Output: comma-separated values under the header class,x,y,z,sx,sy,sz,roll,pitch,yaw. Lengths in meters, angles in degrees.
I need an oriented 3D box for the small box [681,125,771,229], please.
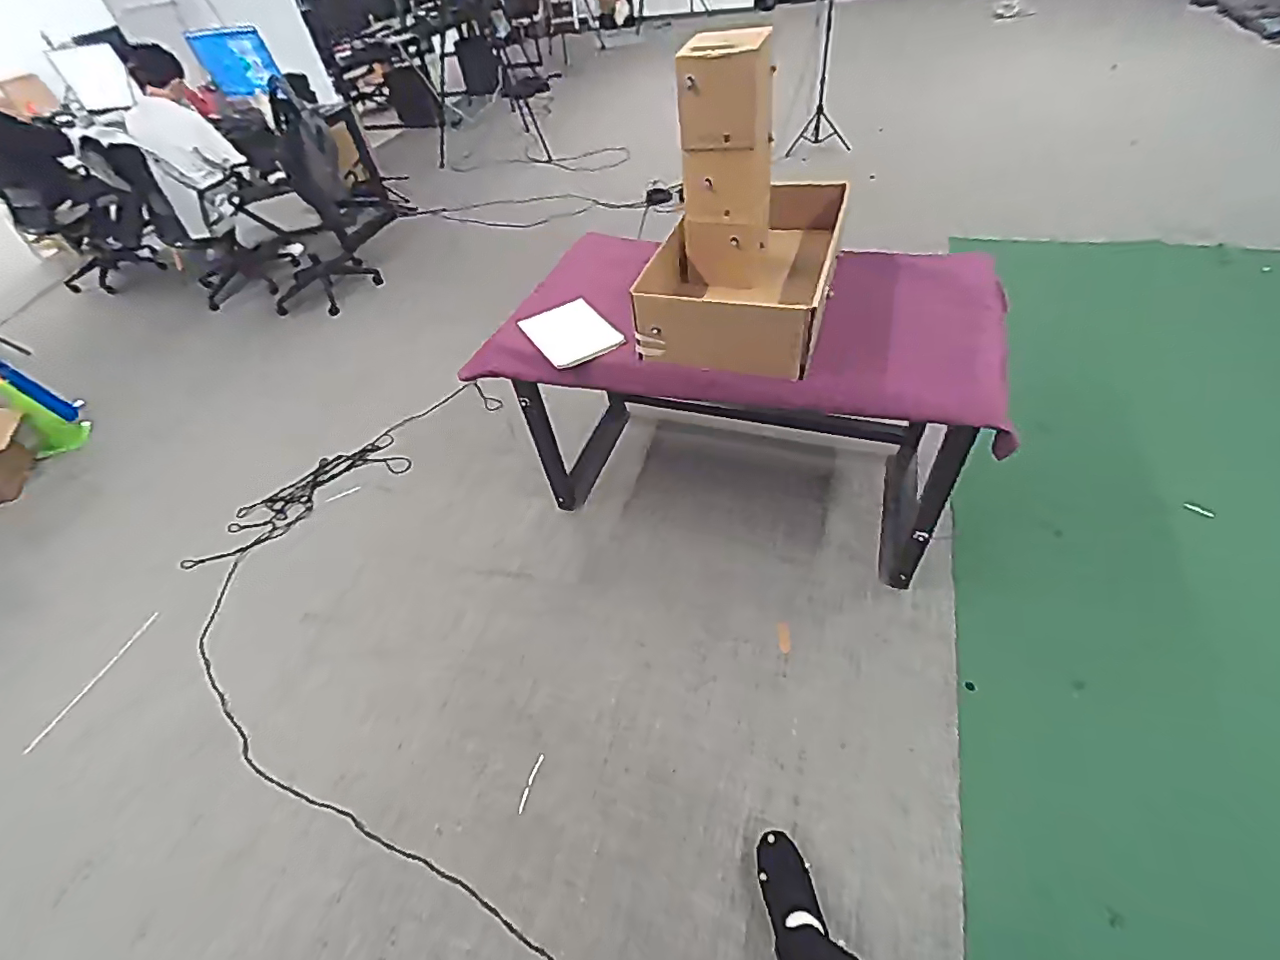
class,x,y,z,sx,sy,sz,roll,pitch,yaw
small box,0.208,-0.716,1.283,0.168,0.176,0.179,12,53,20
